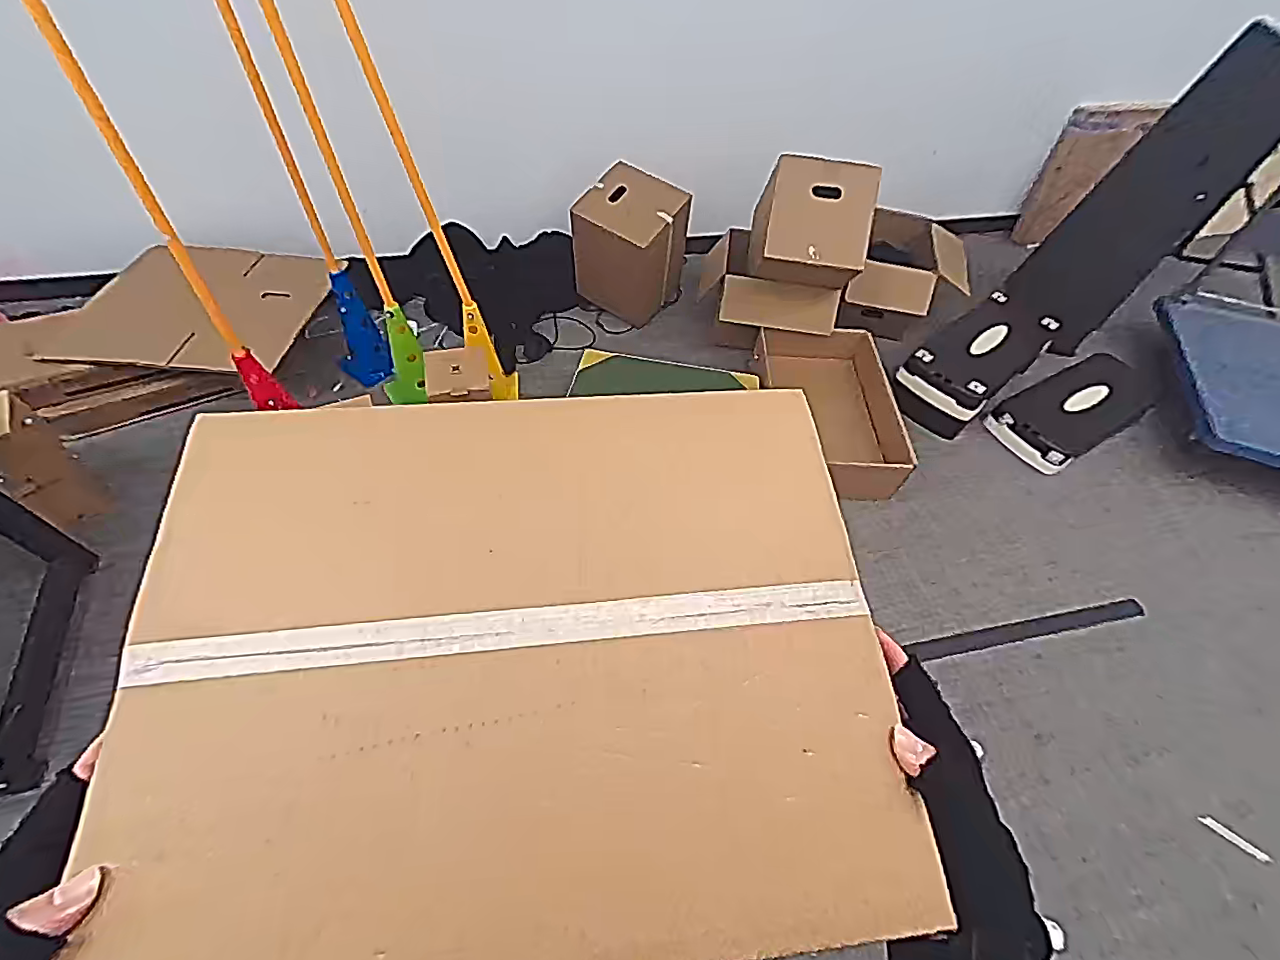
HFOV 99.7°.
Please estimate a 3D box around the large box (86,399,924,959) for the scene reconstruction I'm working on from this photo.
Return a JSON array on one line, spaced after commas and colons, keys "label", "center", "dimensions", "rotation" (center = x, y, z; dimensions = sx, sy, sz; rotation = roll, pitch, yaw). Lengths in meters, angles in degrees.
[{"label": "large box", "center": [-0.077, 0.156, 0.451], "dimensions": [0.408, 0.320, 0.320], "rotation": [-4, 65, -7]}]
